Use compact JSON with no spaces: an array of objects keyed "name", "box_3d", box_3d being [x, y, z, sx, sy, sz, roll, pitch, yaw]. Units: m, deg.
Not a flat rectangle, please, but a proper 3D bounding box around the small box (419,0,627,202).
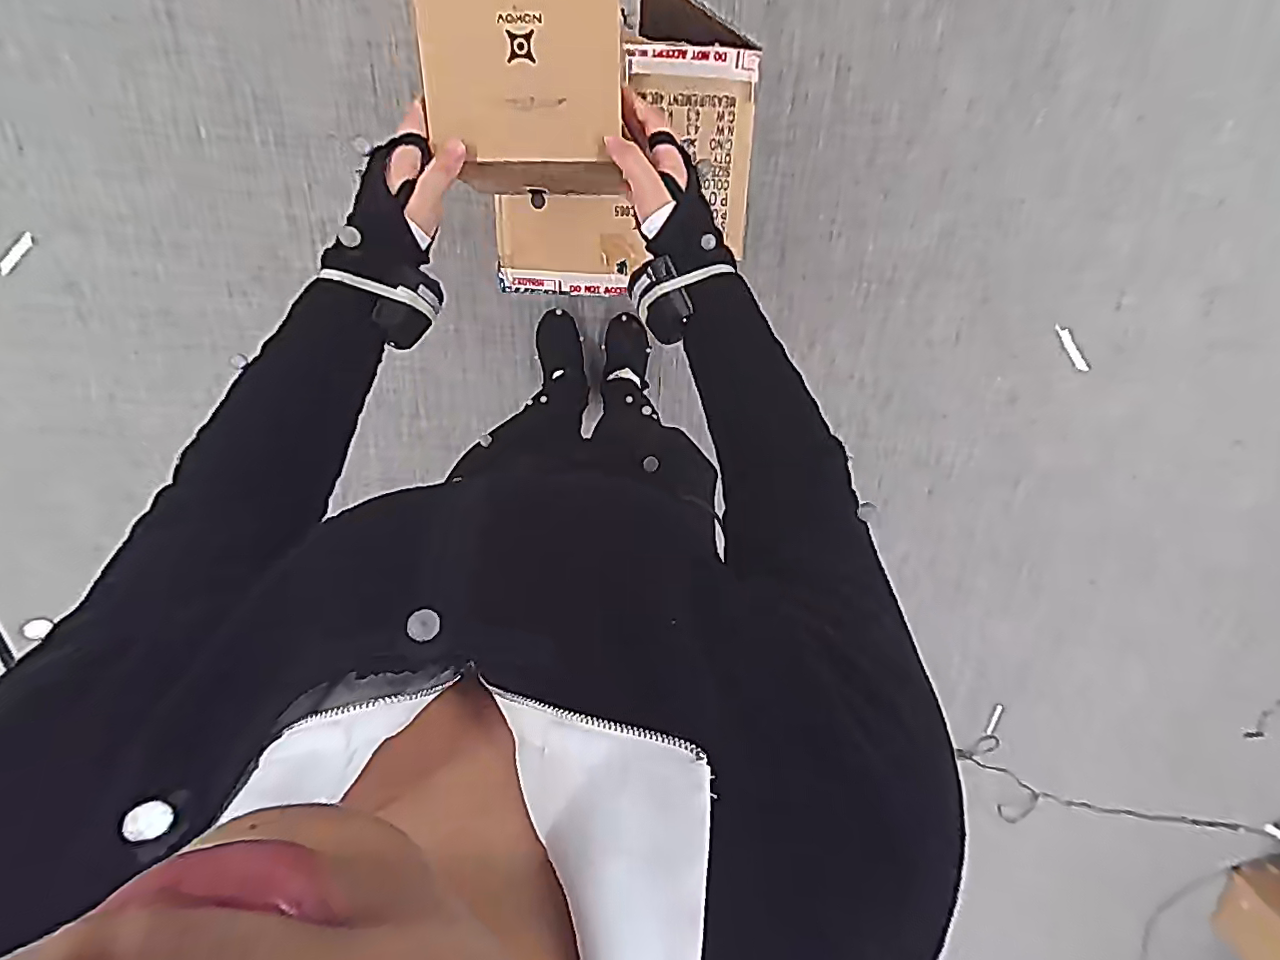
[{"name":"small box","box_3d":[-0.098,-0.382,0.520,0.168,0.176,0.179,-1,108,0]}]
